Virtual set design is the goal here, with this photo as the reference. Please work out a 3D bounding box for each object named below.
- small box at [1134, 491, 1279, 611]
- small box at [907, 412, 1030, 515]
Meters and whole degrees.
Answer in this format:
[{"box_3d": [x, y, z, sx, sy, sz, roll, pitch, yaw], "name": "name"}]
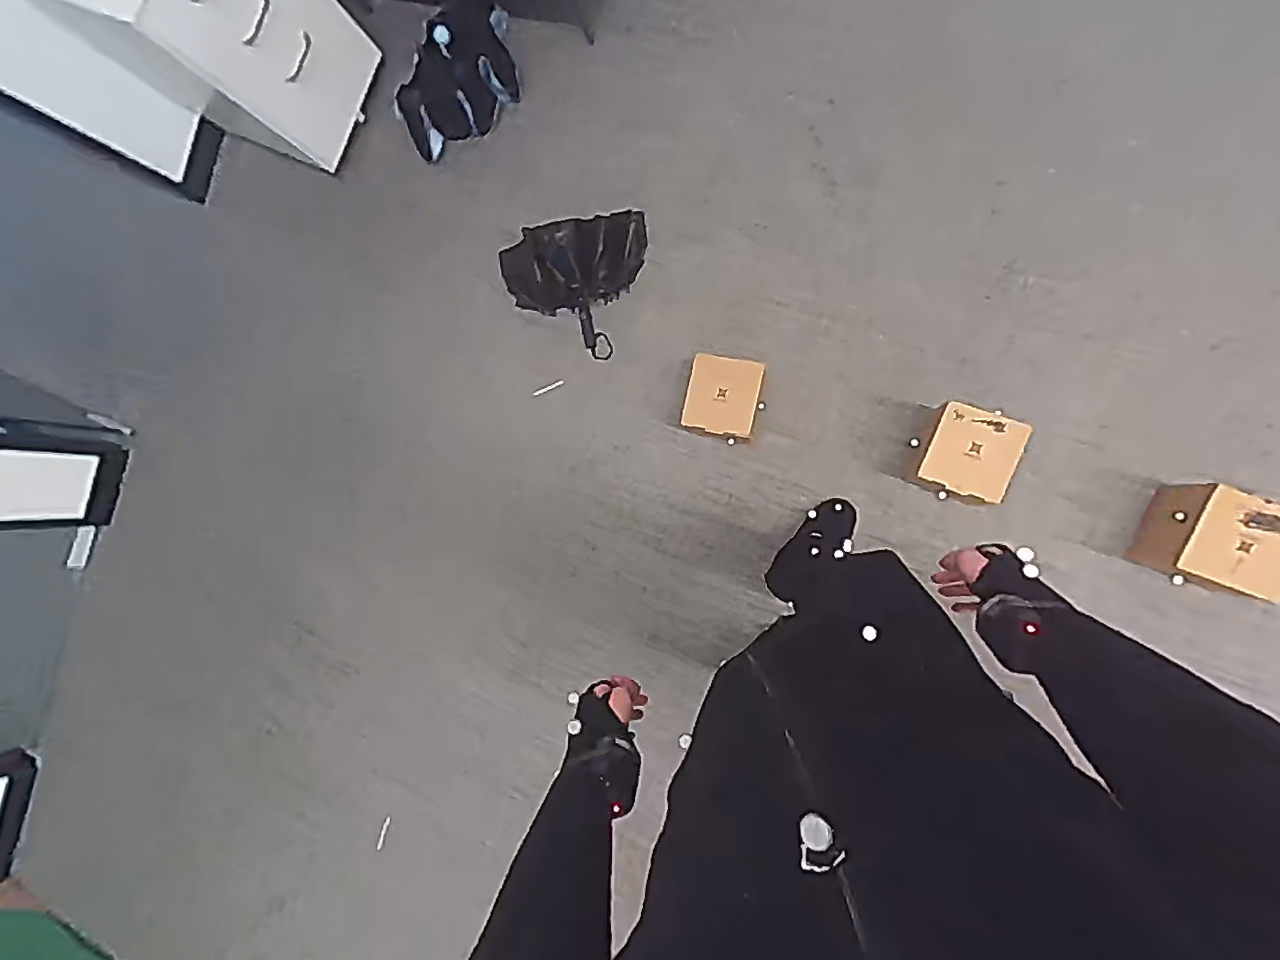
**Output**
[{"box_3d": [1.144, 0.133, 1.073, 0.168, 0.176, 0.179, 22, 94, 17], "name": "small box"}, {"box_3d": [0.716, -0.031, 1.204, 0.168, 0.176, 0.179, 22, 92, 16], "name": "small box"}]
